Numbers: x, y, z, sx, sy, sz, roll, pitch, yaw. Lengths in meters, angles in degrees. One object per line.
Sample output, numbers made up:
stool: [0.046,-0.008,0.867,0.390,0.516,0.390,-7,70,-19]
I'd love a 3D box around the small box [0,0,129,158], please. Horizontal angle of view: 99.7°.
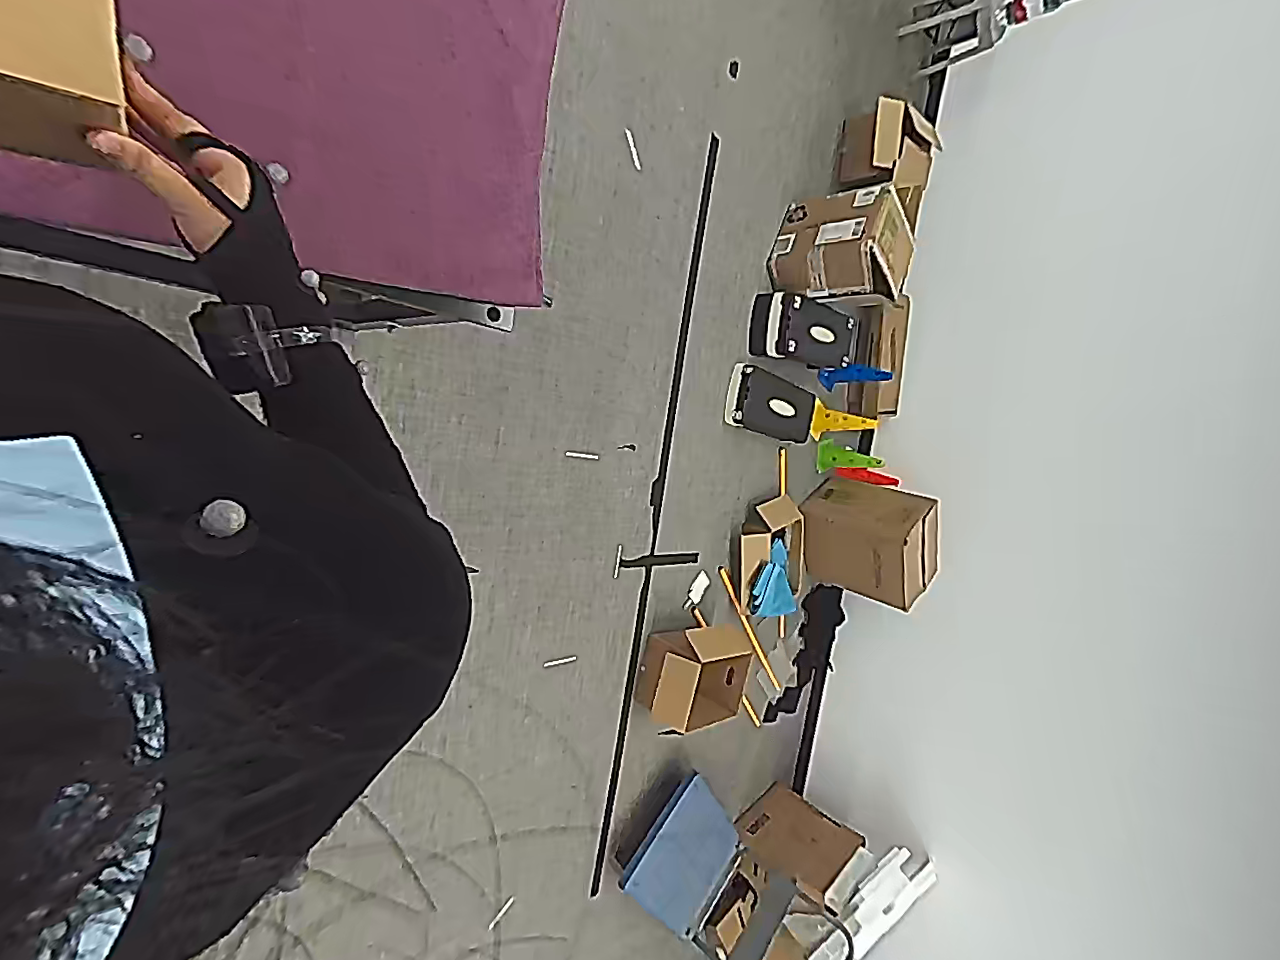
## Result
small box: [-0.399,-0.298,0.289,0.179,0.176,0.168,-6,104,-40]
